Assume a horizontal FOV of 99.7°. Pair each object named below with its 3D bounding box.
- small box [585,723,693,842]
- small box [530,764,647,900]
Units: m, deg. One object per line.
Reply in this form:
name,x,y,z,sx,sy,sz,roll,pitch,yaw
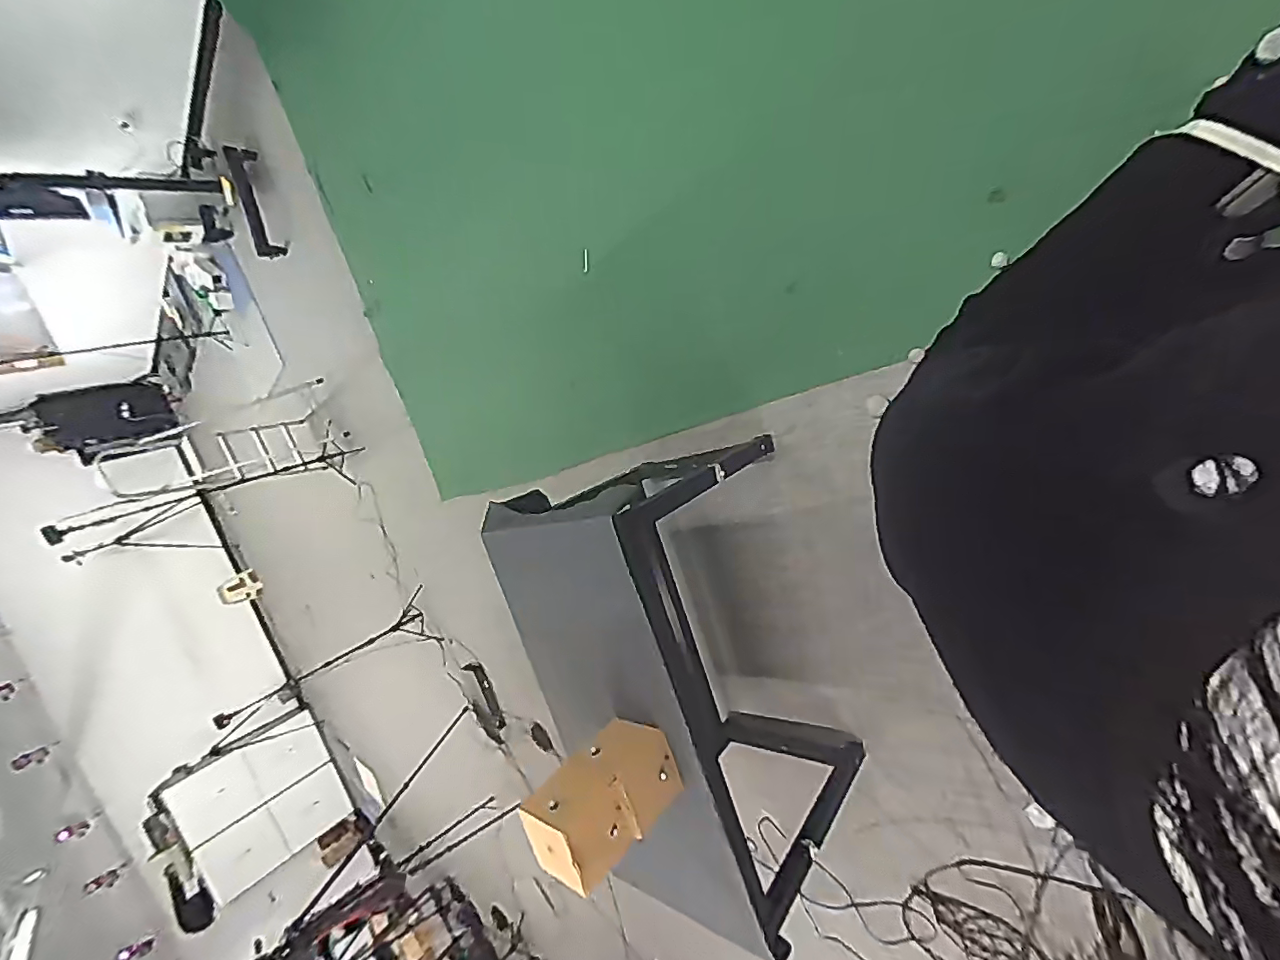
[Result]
small box,0.000,0.728,1.326,0.179,0.176,0.168,-11,101,46
small box,-0.114,0.779,1.221,0.179,0.176,0.168,-10,101,46
